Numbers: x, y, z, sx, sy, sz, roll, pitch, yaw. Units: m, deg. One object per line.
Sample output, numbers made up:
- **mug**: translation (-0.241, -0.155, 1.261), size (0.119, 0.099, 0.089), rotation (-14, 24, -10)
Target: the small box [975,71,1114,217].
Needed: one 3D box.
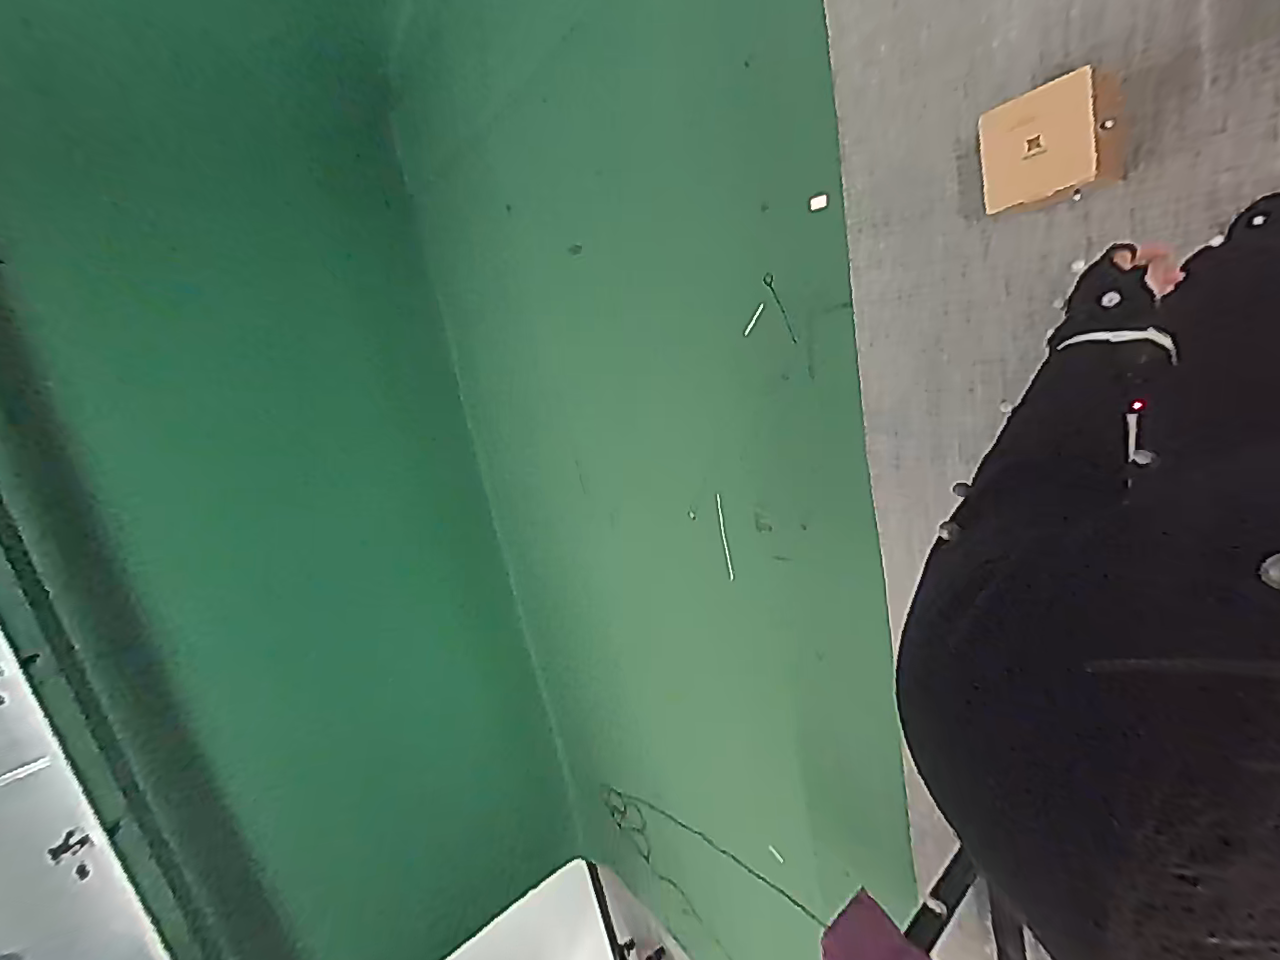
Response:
- **small box**: translation (0.743, -0.602, 0.992), size (0.168, 0.176, 0.179), rotation (3, 109, 53)
